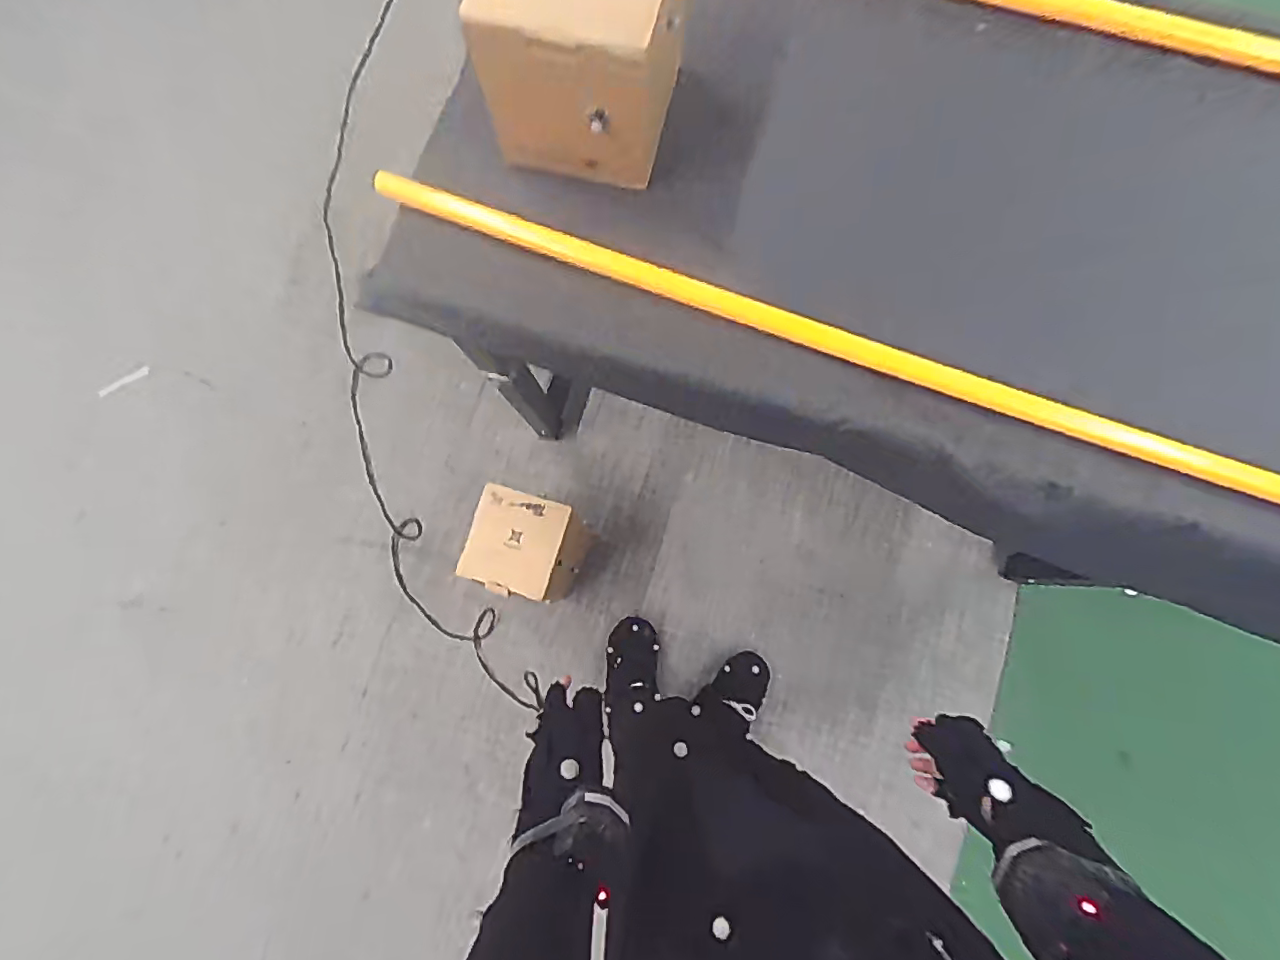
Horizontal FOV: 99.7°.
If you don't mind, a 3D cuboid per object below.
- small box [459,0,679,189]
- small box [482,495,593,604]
[{"bbox_3d":[-0.055,-0.434,0.546,0.168,0.176,0.179,13,79,2],"label":"small box"},{"bbox_3d":[-0.214,0.154,1.191,0.168,0.176,0.179,26,83,6],"label":"small box"}]
